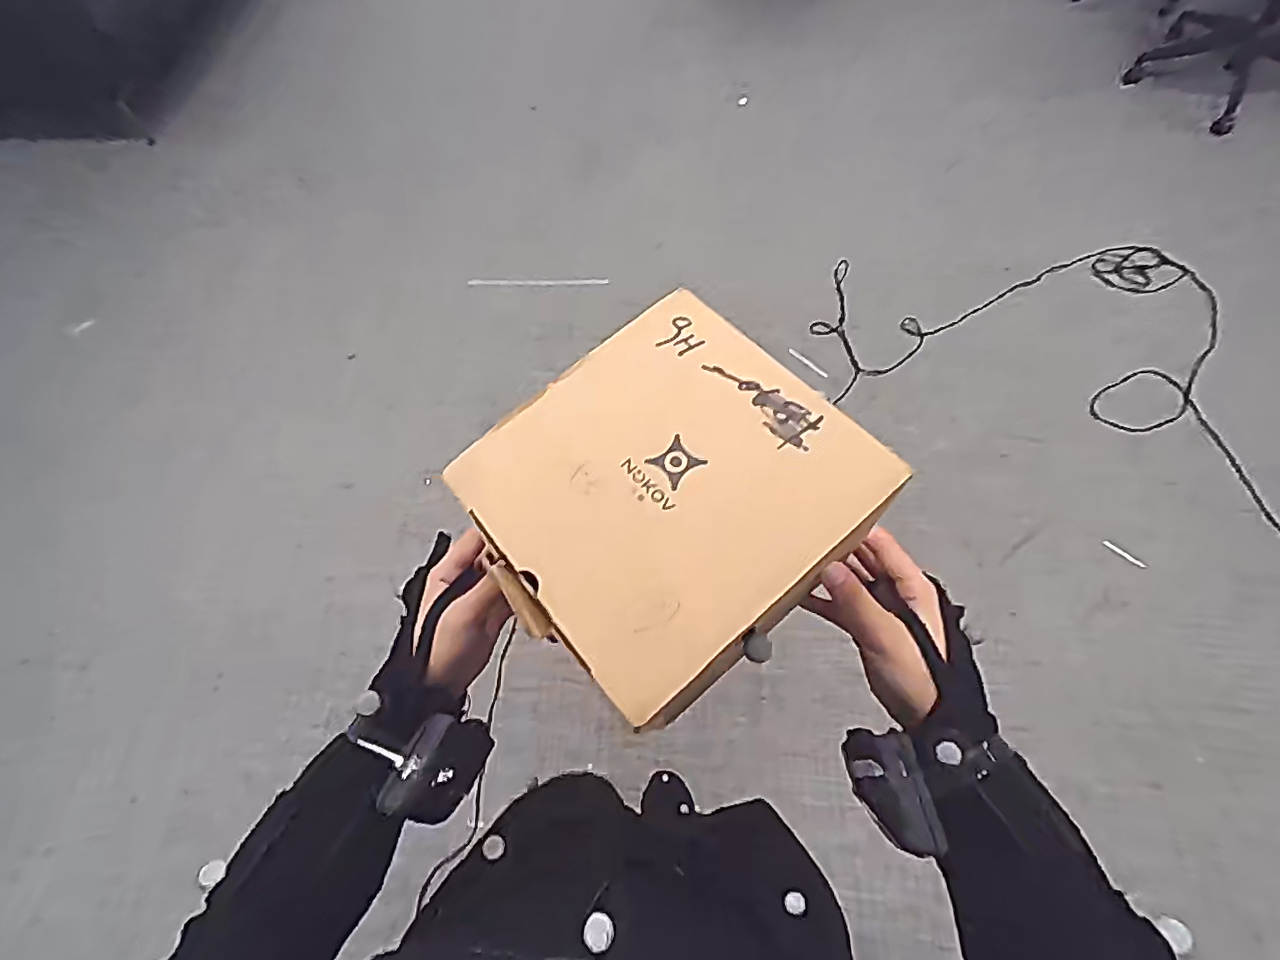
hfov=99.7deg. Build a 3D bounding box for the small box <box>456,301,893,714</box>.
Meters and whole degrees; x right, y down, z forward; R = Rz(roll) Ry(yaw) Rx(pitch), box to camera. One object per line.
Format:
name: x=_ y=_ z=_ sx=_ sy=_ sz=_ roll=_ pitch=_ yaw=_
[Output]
small box: x=0.023 y=0.030 z=0.355 sx=0.179 sy=0.176 sz=0.168 roll=-40 pitch=67 yaw=-10
